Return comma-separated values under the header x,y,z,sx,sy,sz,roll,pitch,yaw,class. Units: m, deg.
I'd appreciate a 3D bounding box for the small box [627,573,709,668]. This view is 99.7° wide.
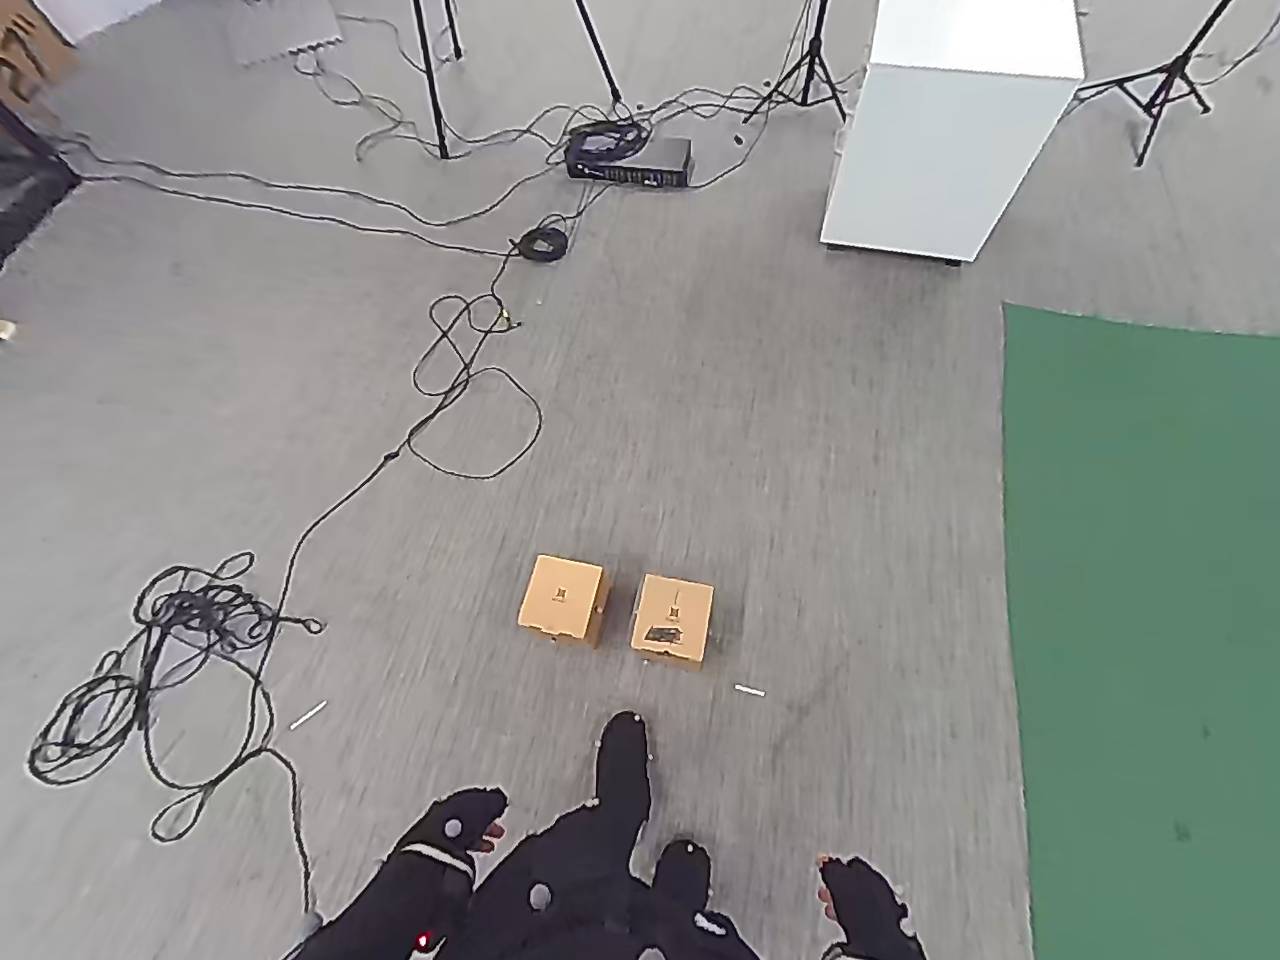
x,y,z,sx,sy,sz,roll,pitch,yaw,class
0.072,0.347,1.316,0.168,0.176,0.179,10,64,8,small box

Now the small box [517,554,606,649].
x,y,z,sx,sy,sz,roll,pitch,yaw,class
-0.188,0.307,1.356,0.168,0.176,0.179,10,65,9,small box
